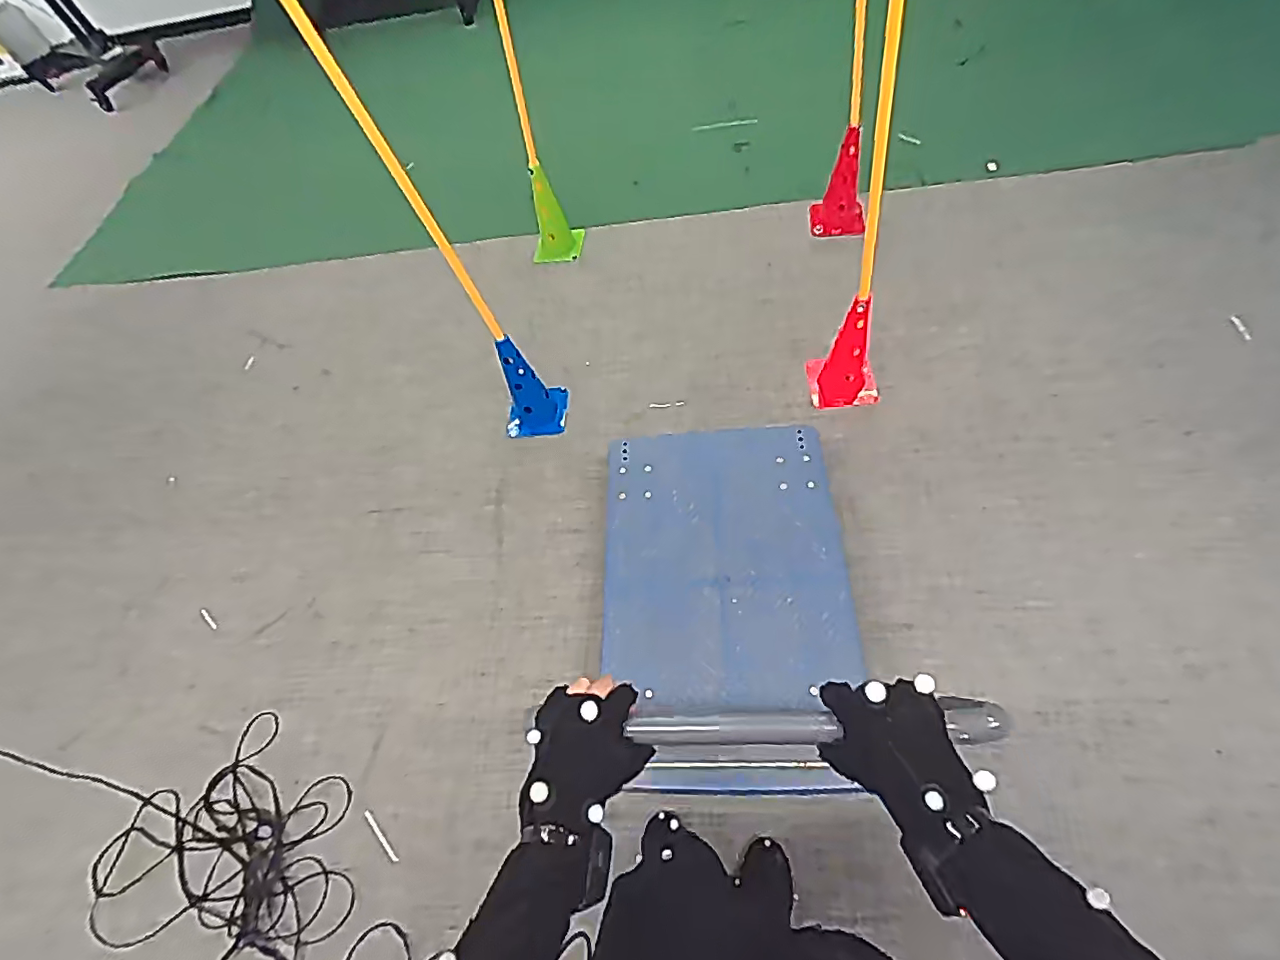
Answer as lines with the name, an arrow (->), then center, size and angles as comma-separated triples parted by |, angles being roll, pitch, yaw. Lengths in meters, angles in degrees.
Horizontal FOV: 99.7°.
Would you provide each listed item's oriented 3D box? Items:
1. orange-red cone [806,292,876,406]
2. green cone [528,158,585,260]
orange-red cone -> 0.621, -0.408, 1.609 | 0.199, 0.360, 0.198 | -5, 59, 9
green cone -> -0.364, -1.095, 2.155 | 0.202, 0.368, 0.200 | 0, 60, 10
